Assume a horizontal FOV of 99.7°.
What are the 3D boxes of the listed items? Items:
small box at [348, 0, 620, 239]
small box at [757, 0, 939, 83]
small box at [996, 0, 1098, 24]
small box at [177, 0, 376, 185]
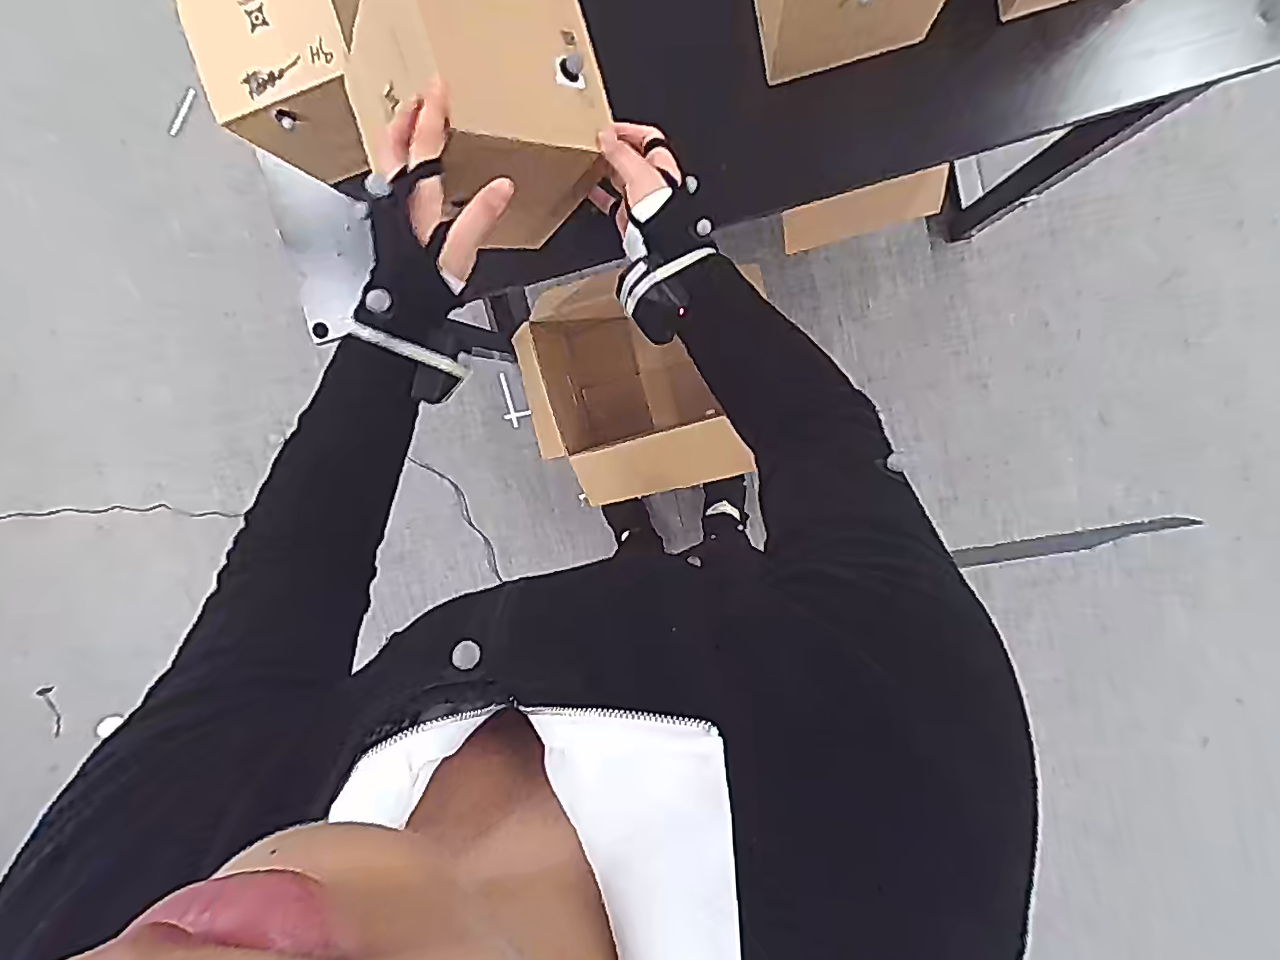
[{"bbox_3d":[-0.147,-0.346,0.510,0.179,0.176,0.168,-15,93,50],"label":"small box"},{"bbox_3d":[0.207,-0.541,0.536,0.179,0.176,0.168,-11,97,8],"label":"small box"},{"bbox_3d":[0.445,-0.587,0.497,0.168,0.176,0.179,-10,96,10],"label":"small box"},{"bbox_3d":[-0.374,-0.480,0.621,0.168,0.176,0.179,-13,96,9],"label":"small box"}]
